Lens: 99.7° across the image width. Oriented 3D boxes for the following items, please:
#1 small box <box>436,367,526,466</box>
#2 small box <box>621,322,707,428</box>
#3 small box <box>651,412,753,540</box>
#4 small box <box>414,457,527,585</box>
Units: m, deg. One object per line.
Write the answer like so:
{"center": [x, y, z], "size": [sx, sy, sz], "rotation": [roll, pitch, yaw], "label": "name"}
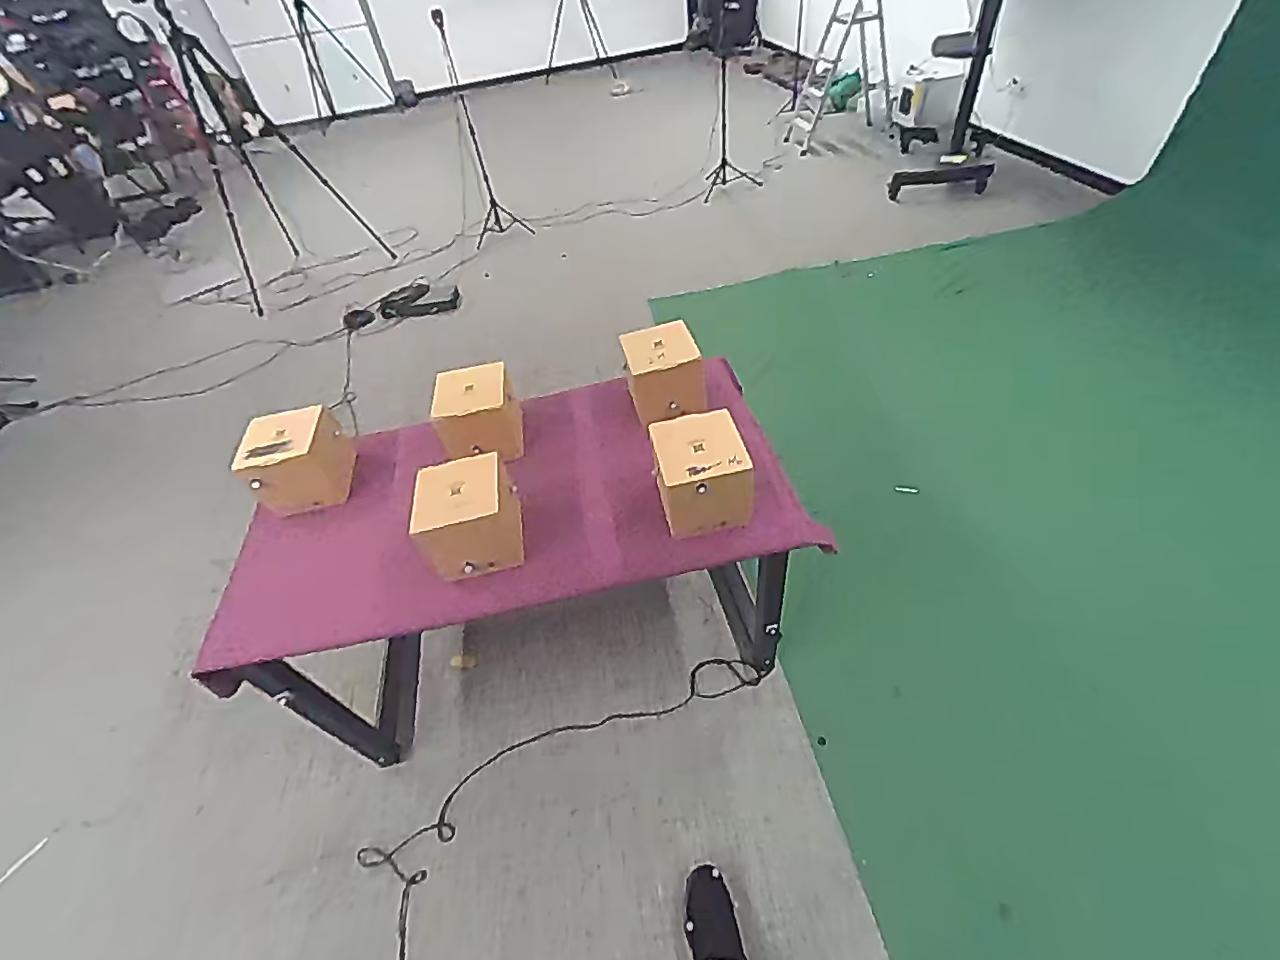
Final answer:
{"center": [-0.382, -0.147, 1.327], "size": [0.168, 0.176, 0.179], "rotation": [-12, 49, -1], "label": "small box"}
{"center": [0.060, -0.258, 1.337], "size": [0.168, 0.176, 0.179], "rotation": [-16, 48, 0], "label": "small box"}
{"center": [0.124, -0.006, 1.094], "size": [0.168, 0.176, 0.179], "rotation": [-13, 47, 0], "label": "small box"}
{"center": [-0.336, 0.085, 1.102], "size": [0.168, 0.176, 0.179], "rotation": [-14, 46, -1], "label": "small box"}
